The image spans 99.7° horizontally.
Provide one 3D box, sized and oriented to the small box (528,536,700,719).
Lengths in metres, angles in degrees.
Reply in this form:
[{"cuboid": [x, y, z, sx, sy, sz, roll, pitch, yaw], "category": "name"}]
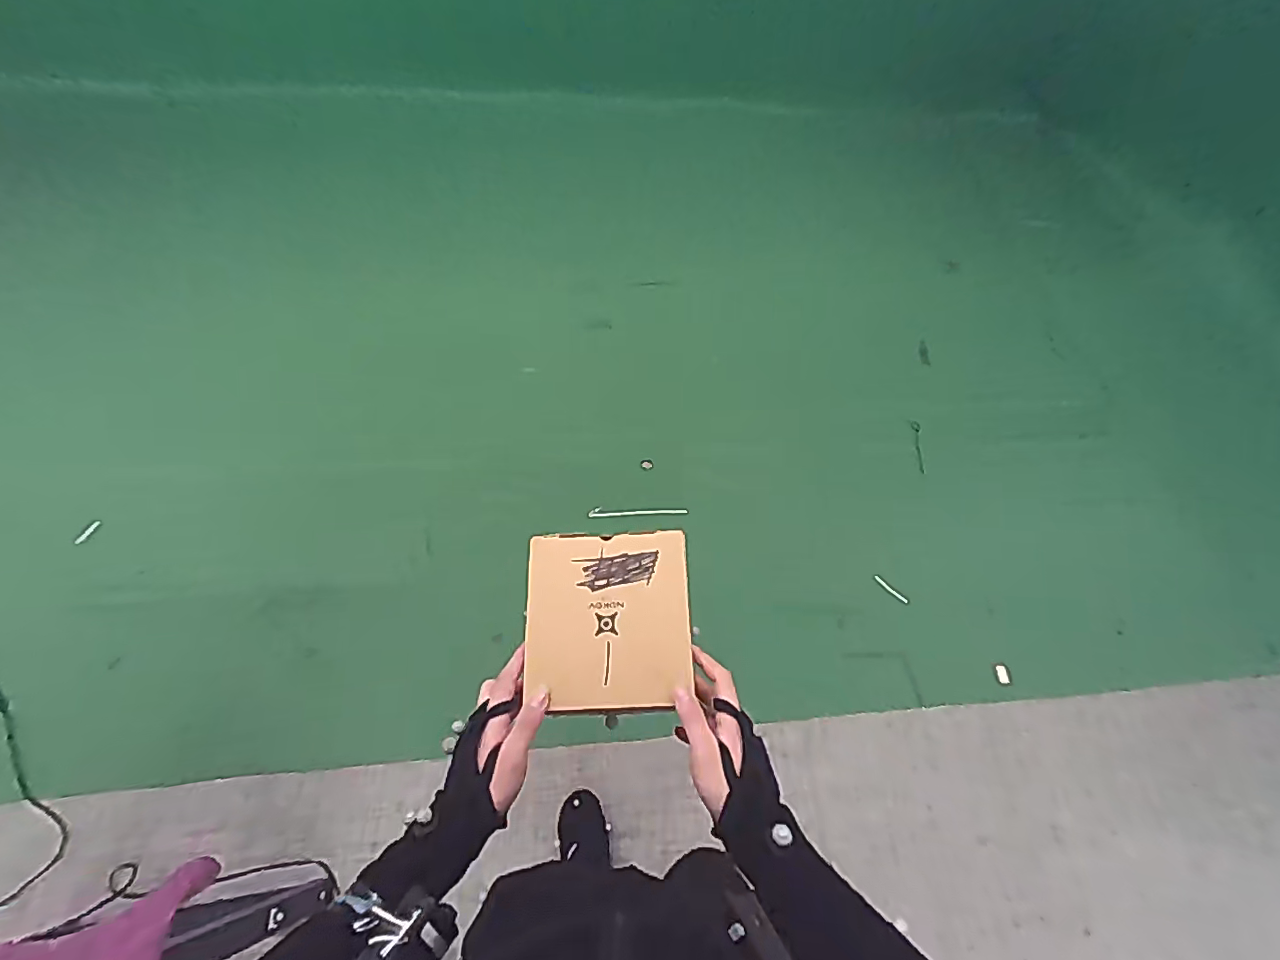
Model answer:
[{"cuboid": [-0.024, 0.173, 0.613, 0.168, 0.176, 0.179, -2, 66, 1], "category": "small box"}]
